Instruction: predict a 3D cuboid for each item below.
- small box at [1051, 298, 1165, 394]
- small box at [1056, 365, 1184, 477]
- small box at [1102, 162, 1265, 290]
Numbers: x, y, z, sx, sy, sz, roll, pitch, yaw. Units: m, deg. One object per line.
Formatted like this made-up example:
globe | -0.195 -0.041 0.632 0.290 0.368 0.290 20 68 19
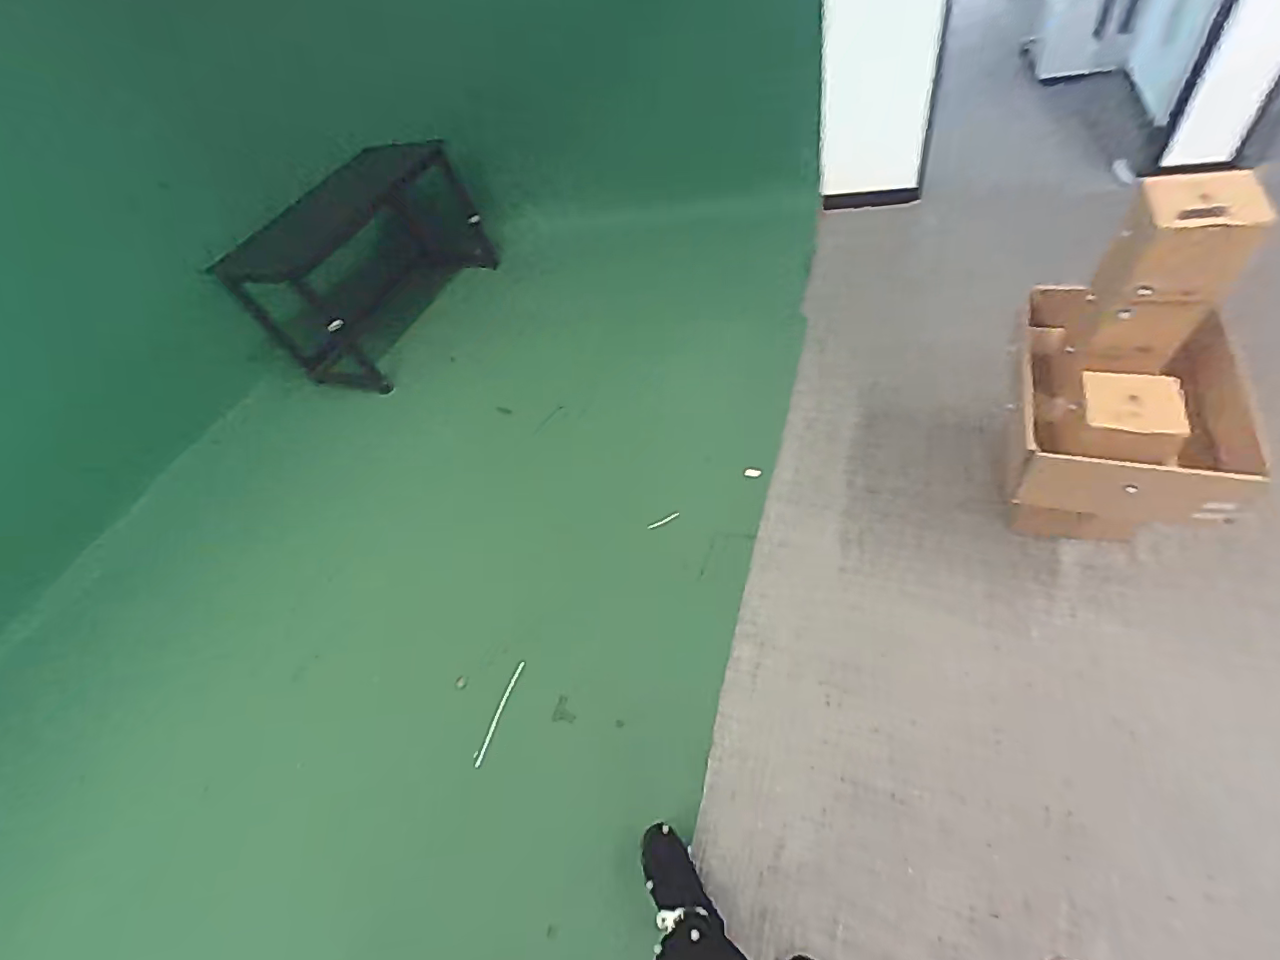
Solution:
small box | 1.151 -0.329 1.346 0.168 0.176 0.179 8 59 22
small box | 1.061 -0.134 1.214 0.168 0.176 0.179 9 55 24
small box | 1.062 -0.495 1.076 0.168 0.176 0.179 6 58 21
